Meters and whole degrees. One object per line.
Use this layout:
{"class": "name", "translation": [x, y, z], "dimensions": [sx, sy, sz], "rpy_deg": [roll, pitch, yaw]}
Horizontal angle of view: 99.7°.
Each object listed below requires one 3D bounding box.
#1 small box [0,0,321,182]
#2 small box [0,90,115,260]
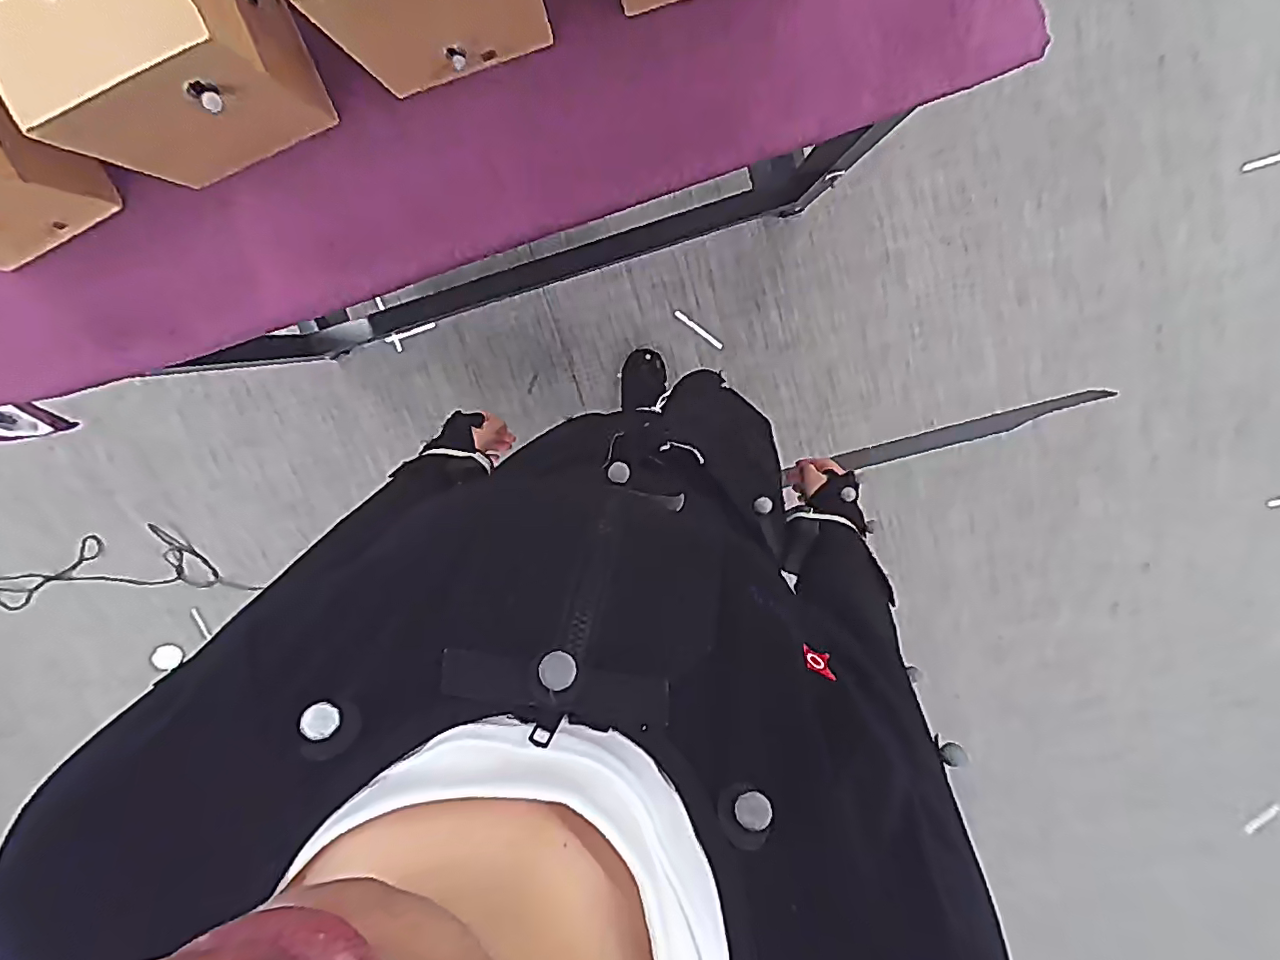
{"class": "small box", "translation": [-0.414, -0.388, 0.461], "dimensions": [0.179, 0.176, 0.168], "rpy_deg": [-19, 103, 7]}
{"class": "small box", "translation": [-0.658, -0.317, 0.492], "dimensions": [0.168, 0.176, 0.179], "rpy_deg": [-22, 103, 8]}
